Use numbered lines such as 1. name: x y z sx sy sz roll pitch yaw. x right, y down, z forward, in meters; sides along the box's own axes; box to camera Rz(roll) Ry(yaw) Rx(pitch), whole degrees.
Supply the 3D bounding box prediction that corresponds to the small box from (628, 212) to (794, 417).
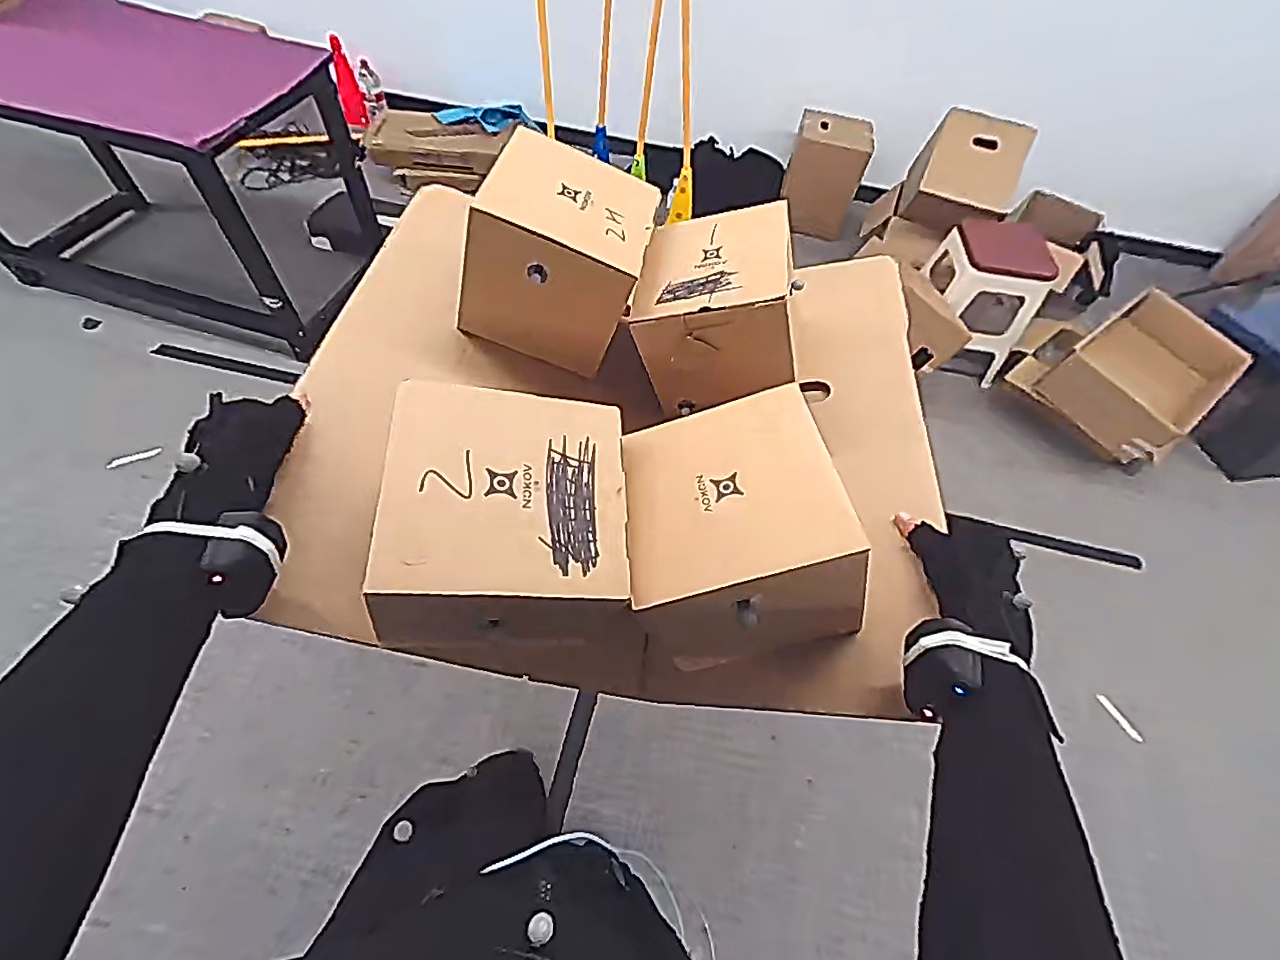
1. small box: 0.099 -0.191 0.667 0.168 0.176 0.179 -3 54 19
